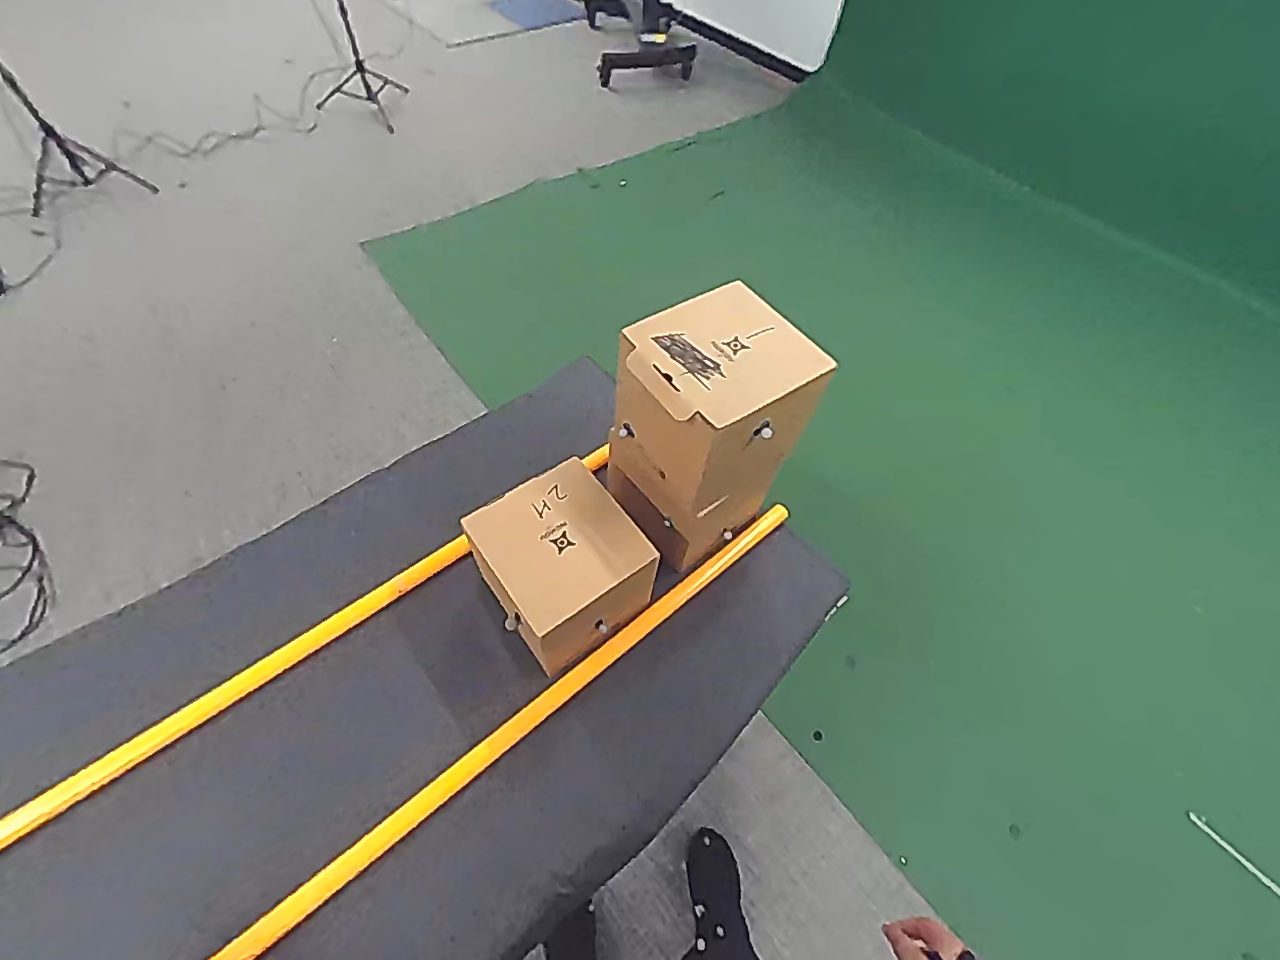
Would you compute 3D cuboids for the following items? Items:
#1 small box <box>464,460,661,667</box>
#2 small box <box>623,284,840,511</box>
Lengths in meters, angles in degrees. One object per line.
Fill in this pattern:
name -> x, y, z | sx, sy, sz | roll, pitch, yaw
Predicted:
small box -> -0.094, 0.114, 0.685 | 0.168, 0.176, 0.179 | -31, 64, -23
small box -> 0.093, -0.092, 0.639 | 0.179, 0.176, 0.168 | -29, 64, -22
